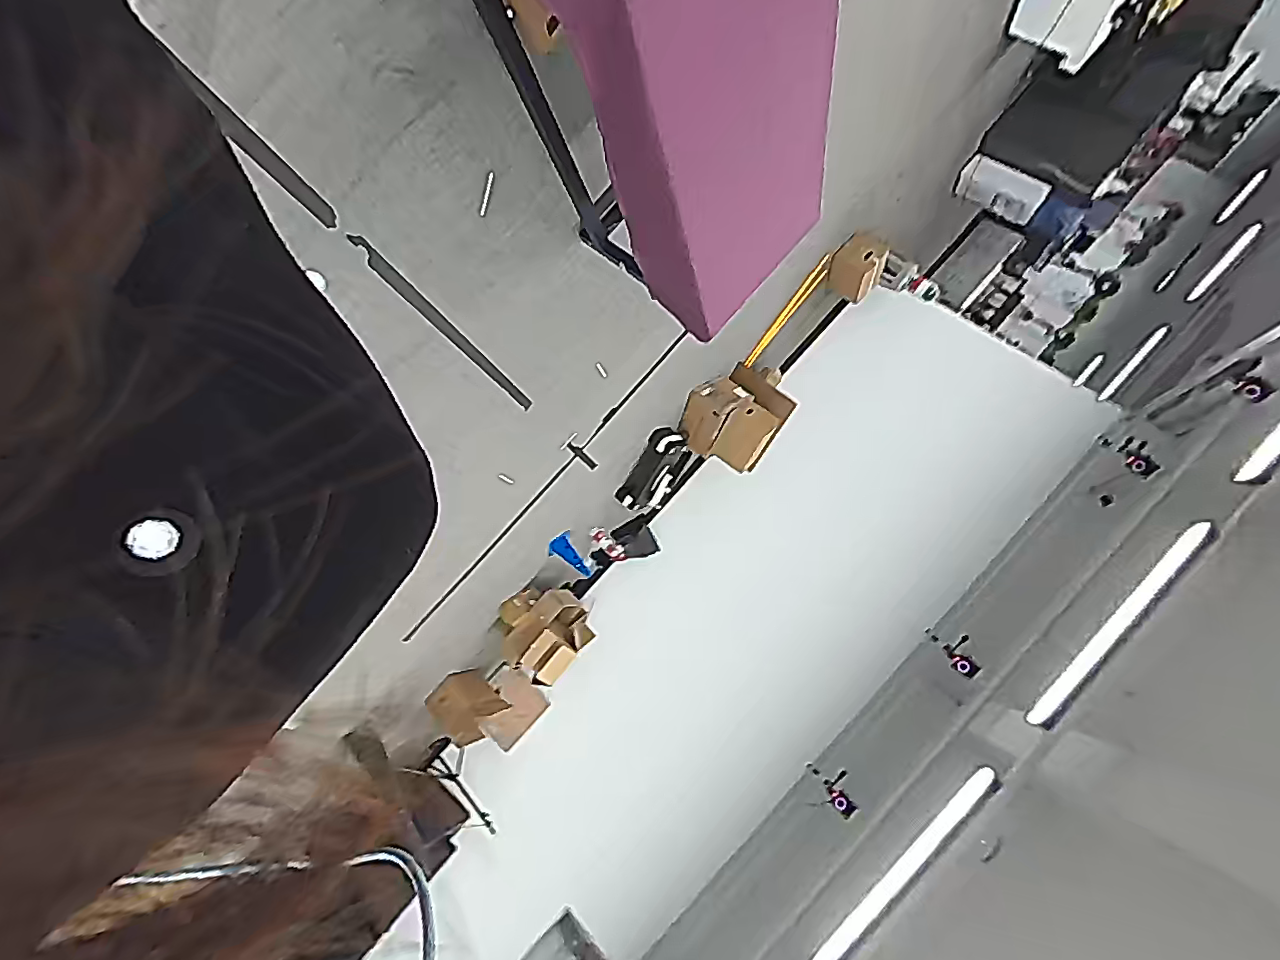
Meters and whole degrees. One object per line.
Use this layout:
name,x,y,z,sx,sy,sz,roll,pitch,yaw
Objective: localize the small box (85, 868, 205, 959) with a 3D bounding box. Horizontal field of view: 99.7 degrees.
small box,-1.388,1.247,1.513,0.179,0.176,0.168,-46,161,-5
